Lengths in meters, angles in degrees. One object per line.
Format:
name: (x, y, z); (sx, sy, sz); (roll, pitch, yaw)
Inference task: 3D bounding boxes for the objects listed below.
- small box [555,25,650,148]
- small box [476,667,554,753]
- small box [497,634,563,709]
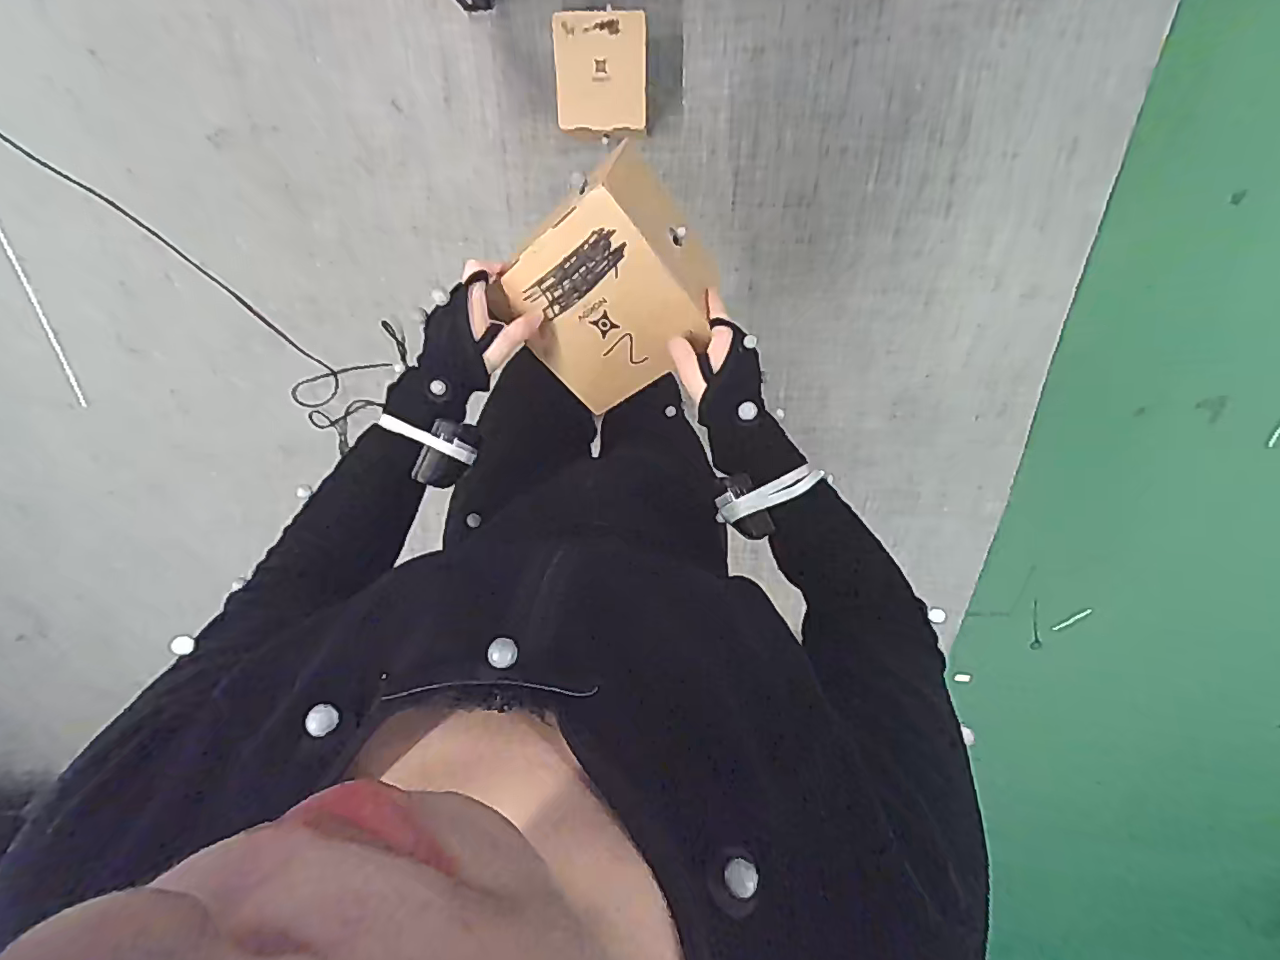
small box: (-0.067, -0.759, 1.059); (0.168, 0.176, 0.179); (2, 117, 2)
small box: (-0.356, 0.669, 1.585); (0.179, 0.176, 0.168); (-6, 115, 5)
small box: (-0.348, 0.612, 1.737); (0.179, 0.176, 0.168); (-1, 115, 3)
